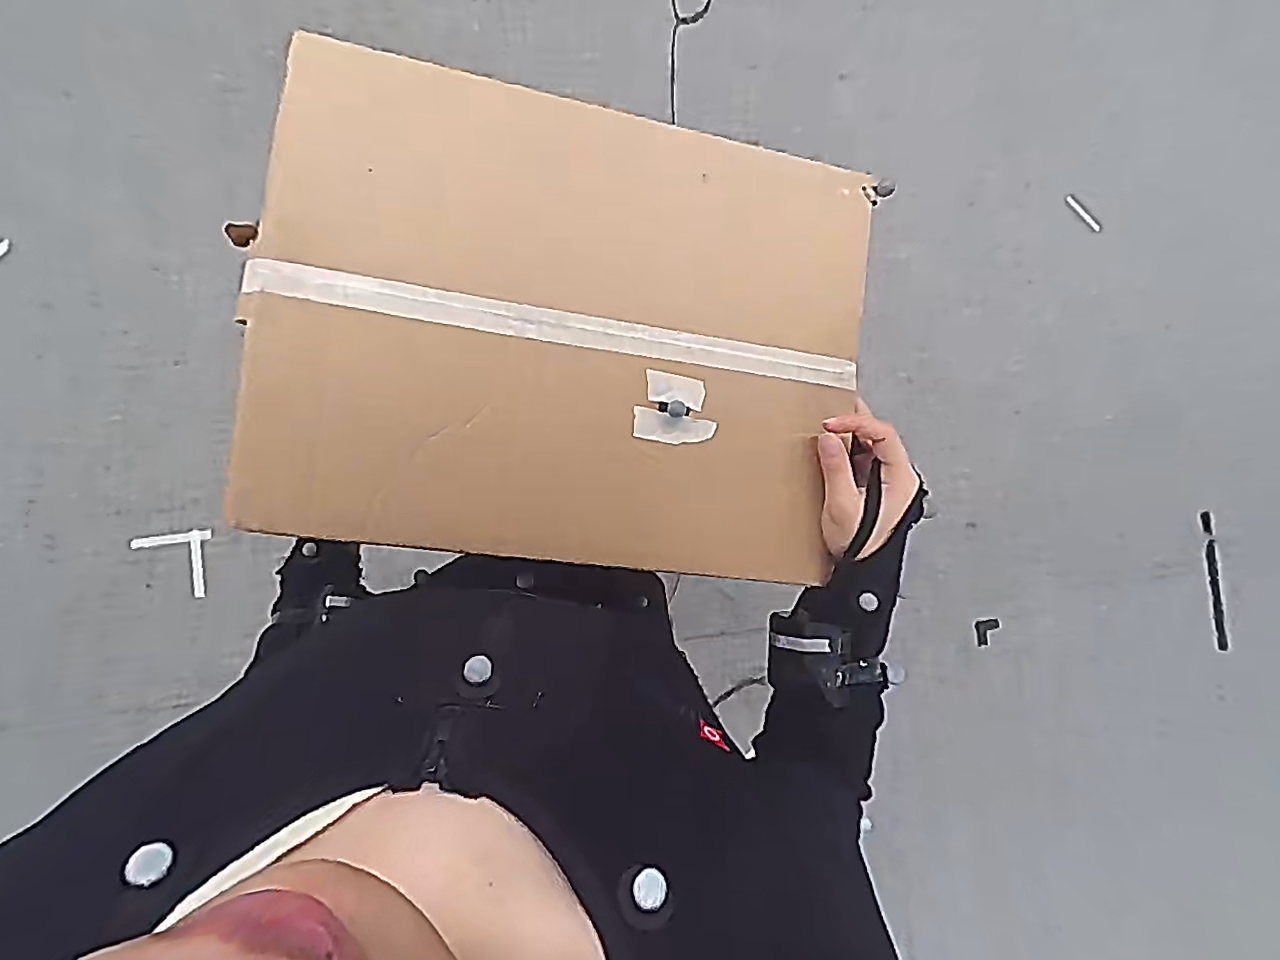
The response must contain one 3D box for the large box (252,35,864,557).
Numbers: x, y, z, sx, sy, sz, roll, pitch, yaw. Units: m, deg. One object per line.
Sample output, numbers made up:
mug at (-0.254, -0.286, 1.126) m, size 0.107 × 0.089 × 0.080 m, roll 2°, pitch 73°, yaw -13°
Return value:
large box at (-0.064, -0.111, 0.521) m, size 0.408 × 0.320 × 0.320 m, roll 7°, pitch 89°, yaw -12°
